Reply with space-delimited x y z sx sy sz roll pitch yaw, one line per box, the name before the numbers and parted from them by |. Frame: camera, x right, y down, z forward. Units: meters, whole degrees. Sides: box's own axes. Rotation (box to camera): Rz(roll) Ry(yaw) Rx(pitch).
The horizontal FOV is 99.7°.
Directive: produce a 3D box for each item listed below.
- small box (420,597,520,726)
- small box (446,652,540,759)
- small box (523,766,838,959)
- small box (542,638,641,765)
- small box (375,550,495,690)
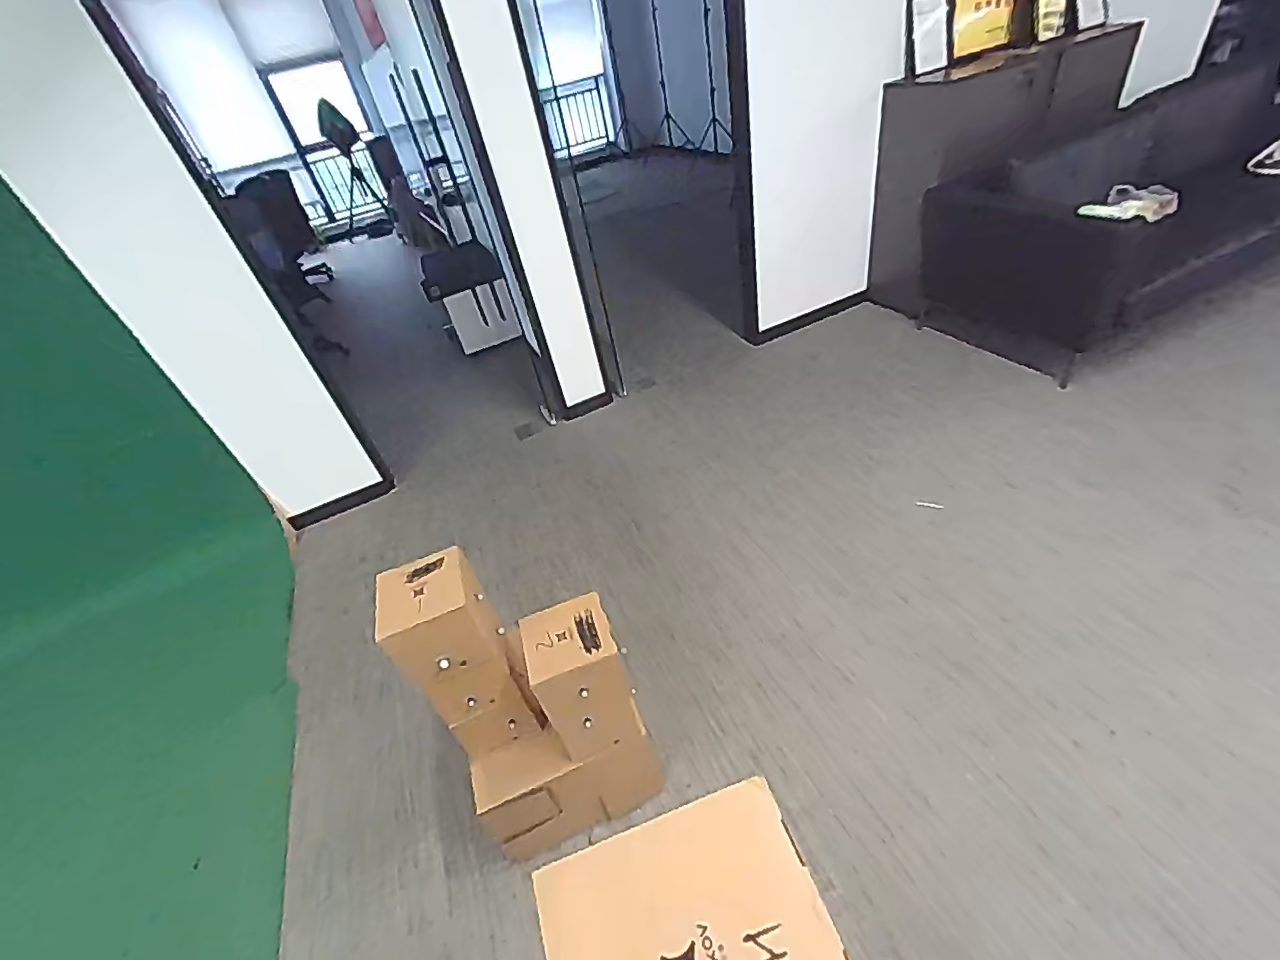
small box | -0.376 0.396 1.181 0.168 0.176 0.179 -21 40 -10
small box | -0.348 0.526 1.276 0.168 0.176 0.179 -21 37 -10
small box | 0.033 0.342 0.387 0.179 0.176 0.168 -17 49 -9
small box | -0.109 0.502 1.227 0.168 0.176 0.179 -20 37 -9
small box | -0.402 0.276 1.072 0.168 0.176 0.179 -21 39 -10
